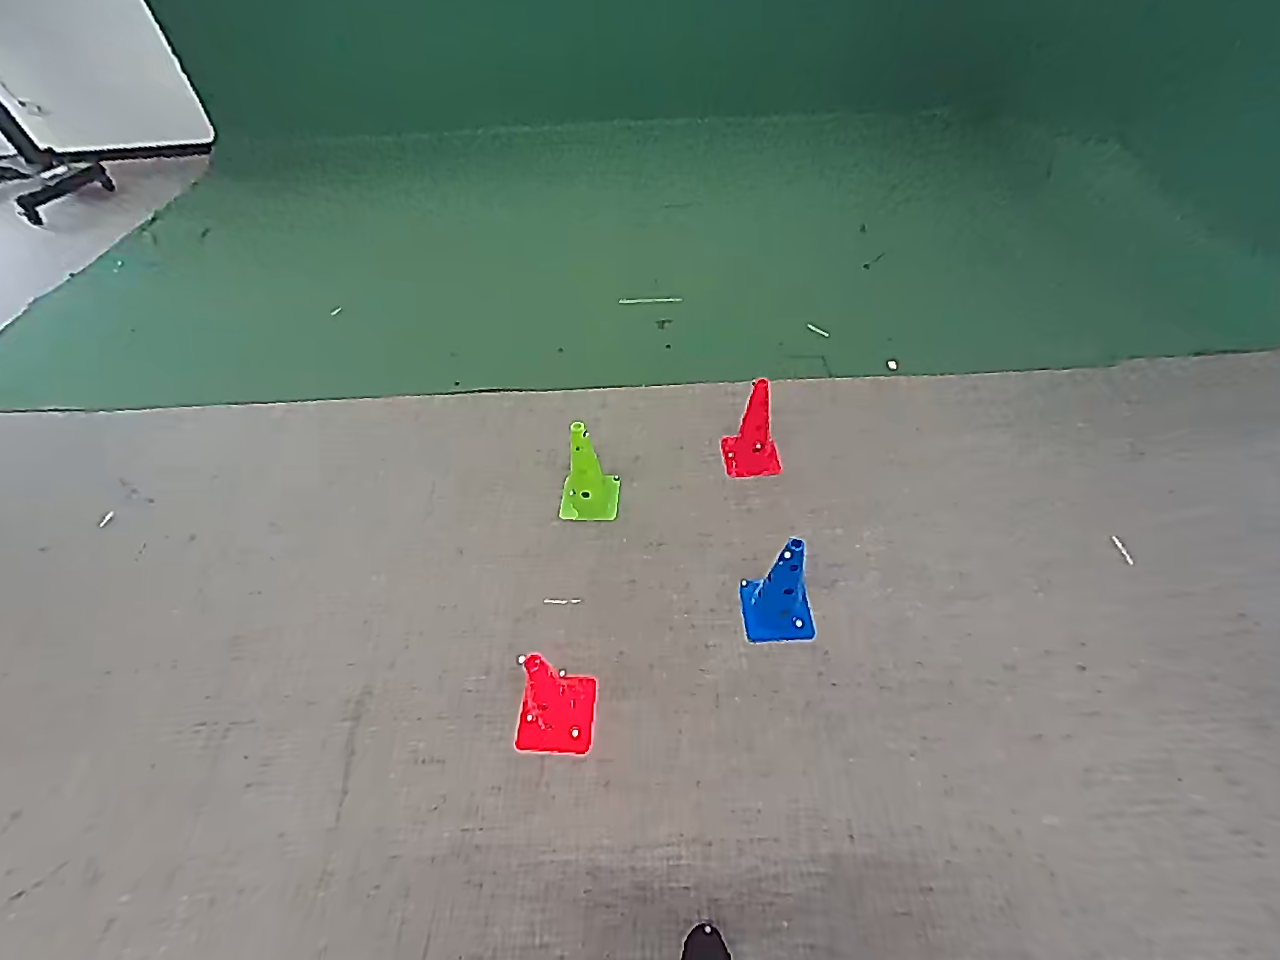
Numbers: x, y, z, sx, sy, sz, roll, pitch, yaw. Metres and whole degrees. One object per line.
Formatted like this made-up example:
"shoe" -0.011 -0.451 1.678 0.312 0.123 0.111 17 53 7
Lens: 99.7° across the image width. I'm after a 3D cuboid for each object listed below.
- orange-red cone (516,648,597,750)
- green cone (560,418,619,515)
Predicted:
"orange-red cone" -0.225 0.499 1.319 0.198 0.360 0.199 2 49 4
"green cone" -0.187 -0.066 1.782 0.200 0.368 0.202 0 51 4
